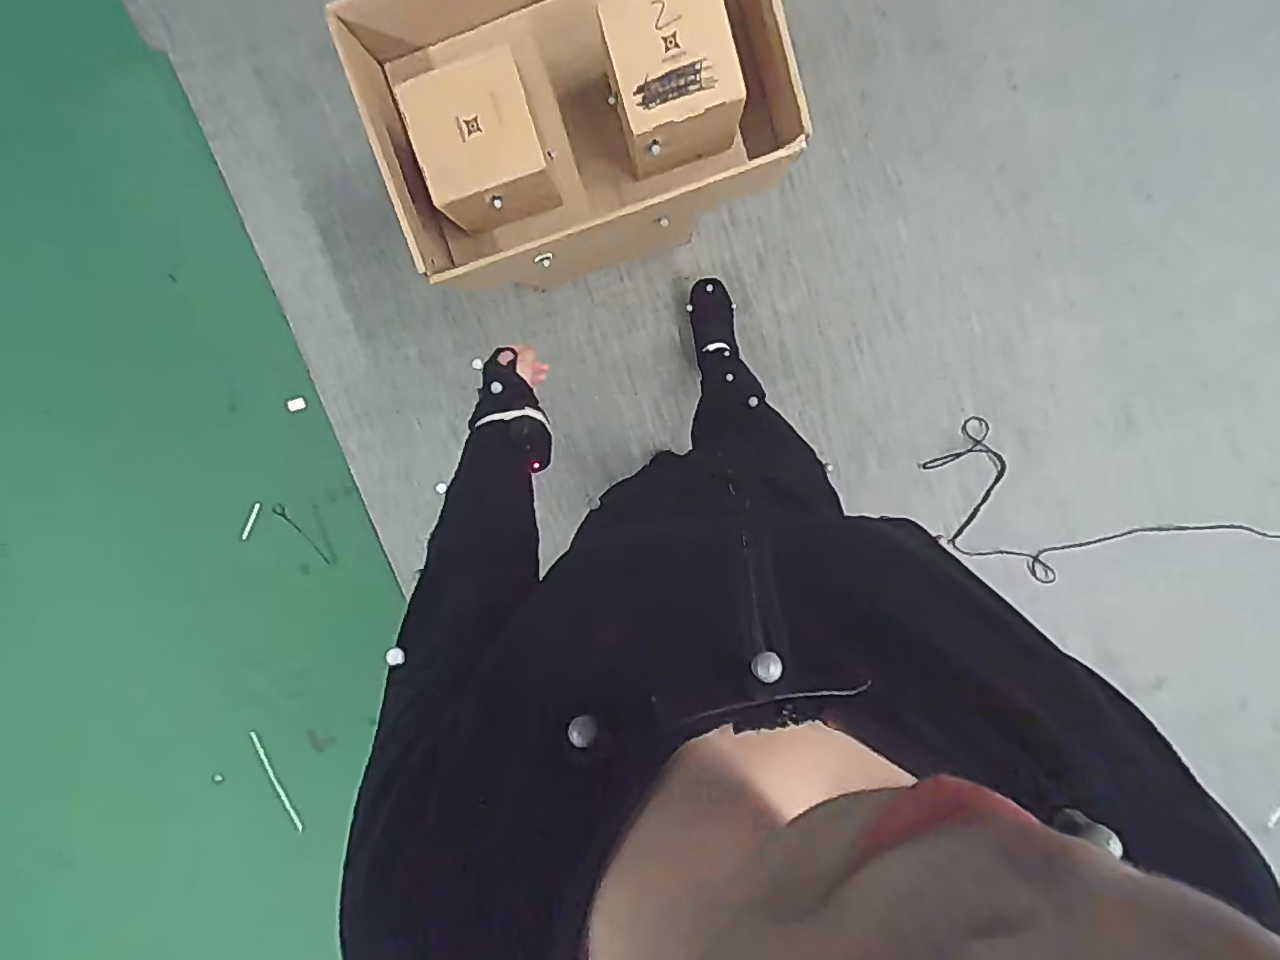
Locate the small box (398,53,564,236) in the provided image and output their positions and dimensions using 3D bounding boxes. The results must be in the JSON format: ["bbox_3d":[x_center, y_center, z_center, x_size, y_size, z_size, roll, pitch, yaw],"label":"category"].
[{"bbox_3d":[-0.234,-0.503,0.842,0.179,0.176,0.168,-16,99,4],"label":"small box"}]
